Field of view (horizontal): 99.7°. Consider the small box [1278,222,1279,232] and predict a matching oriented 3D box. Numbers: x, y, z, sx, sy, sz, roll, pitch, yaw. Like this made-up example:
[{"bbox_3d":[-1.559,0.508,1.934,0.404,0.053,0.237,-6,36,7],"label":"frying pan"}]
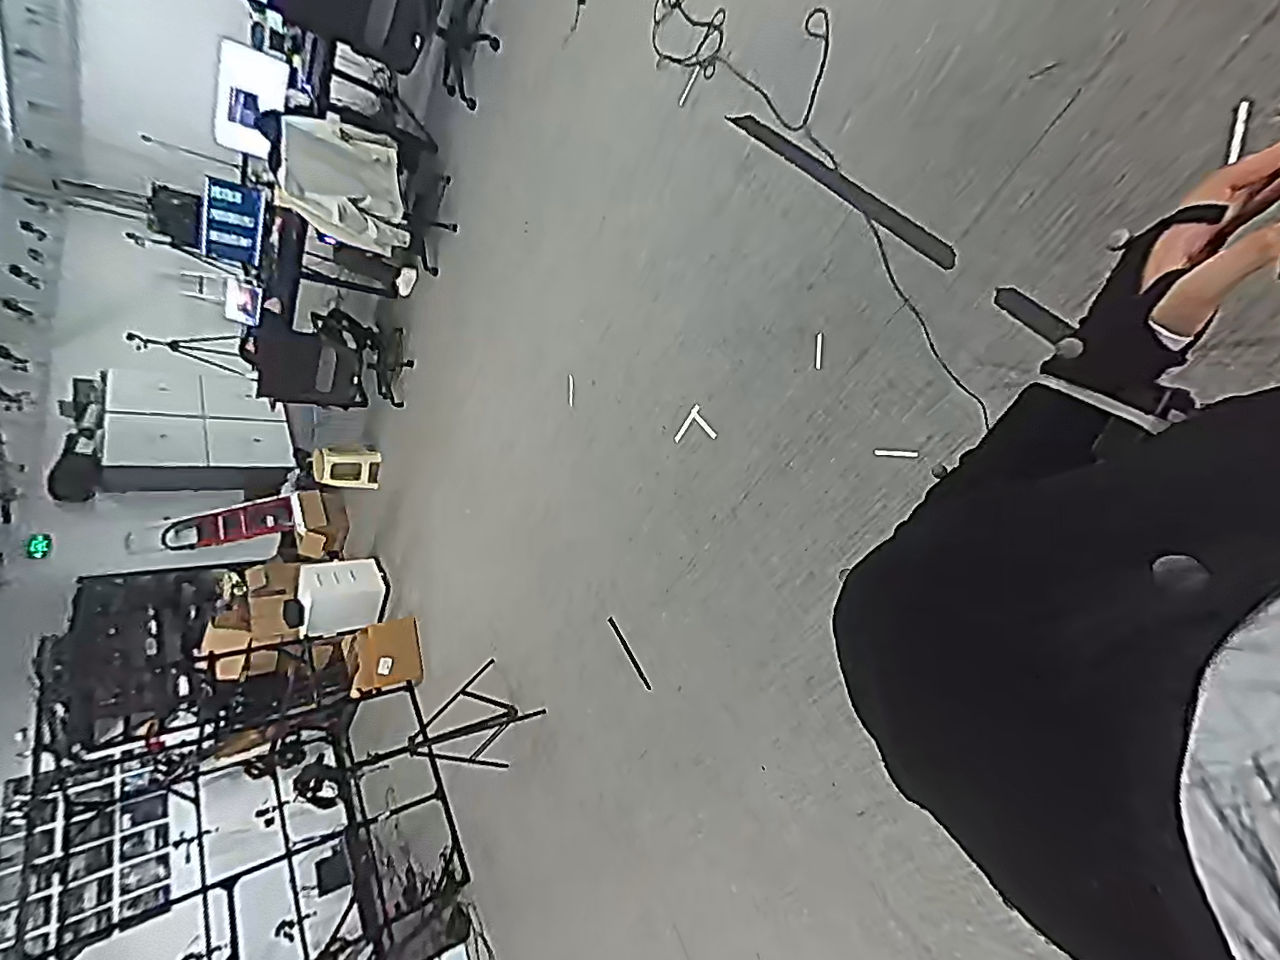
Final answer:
[{"bbox_3d":[0.499,-0.233,0.304,0.168,0.176,0.179,8,101,47],"label":"small box"}]
